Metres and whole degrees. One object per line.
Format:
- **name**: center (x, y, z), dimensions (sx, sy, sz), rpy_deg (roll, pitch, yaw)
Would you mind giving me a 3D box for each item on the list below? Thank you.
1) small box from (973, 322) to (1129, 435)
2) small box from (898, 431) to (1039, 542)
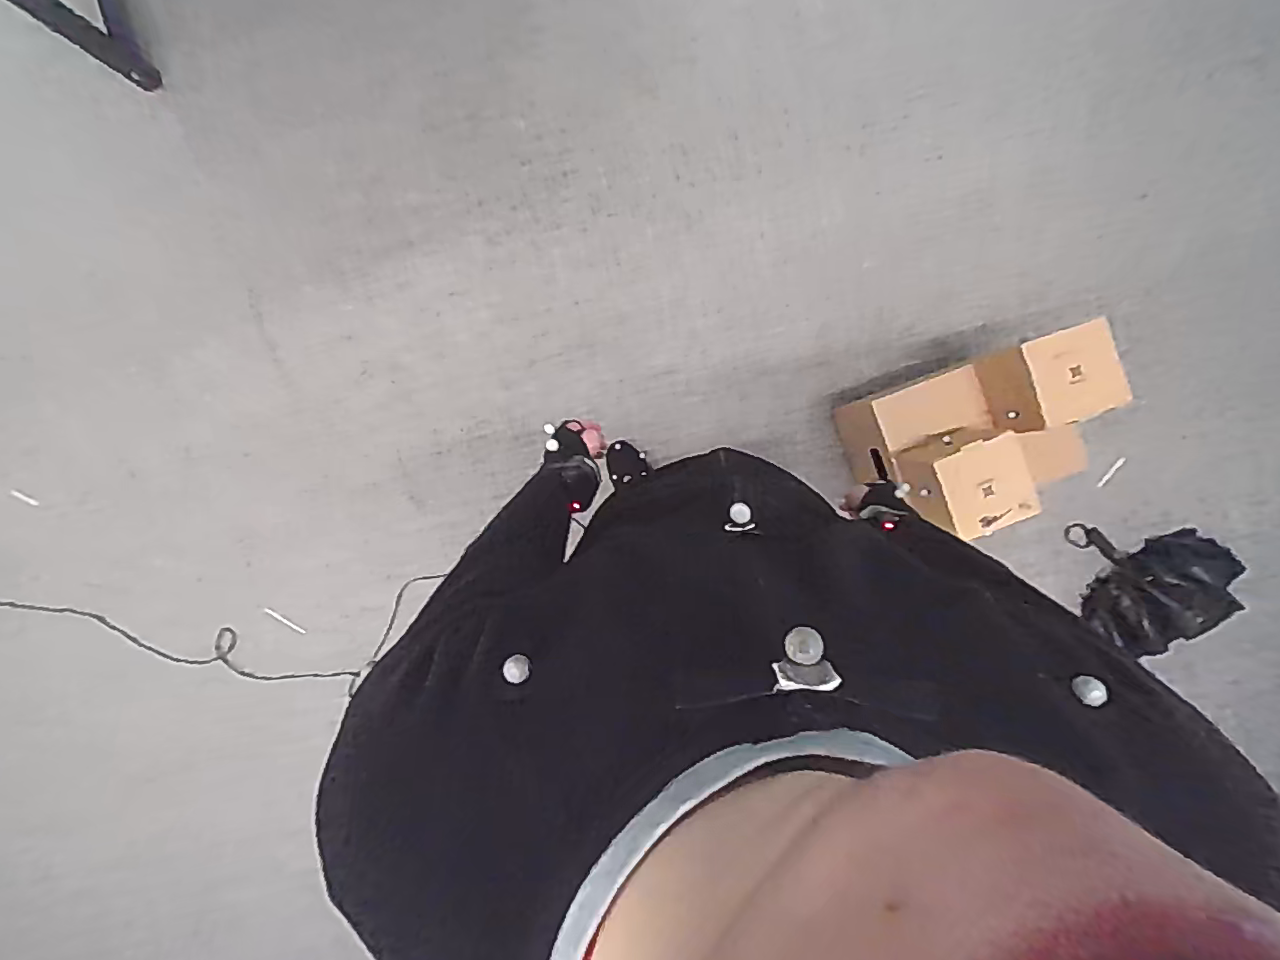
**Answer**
- **small box**: center (0.829, -0.196, 1.109), dimensions (0.168, 0.176, 0.179), rpy_deg (-19, 89, 3)
- **small box**: center (0.672, 0.009, 1.130), dimensions (0.168, 0.176, 0.179), rpy_deg (-22, 94, 4)
